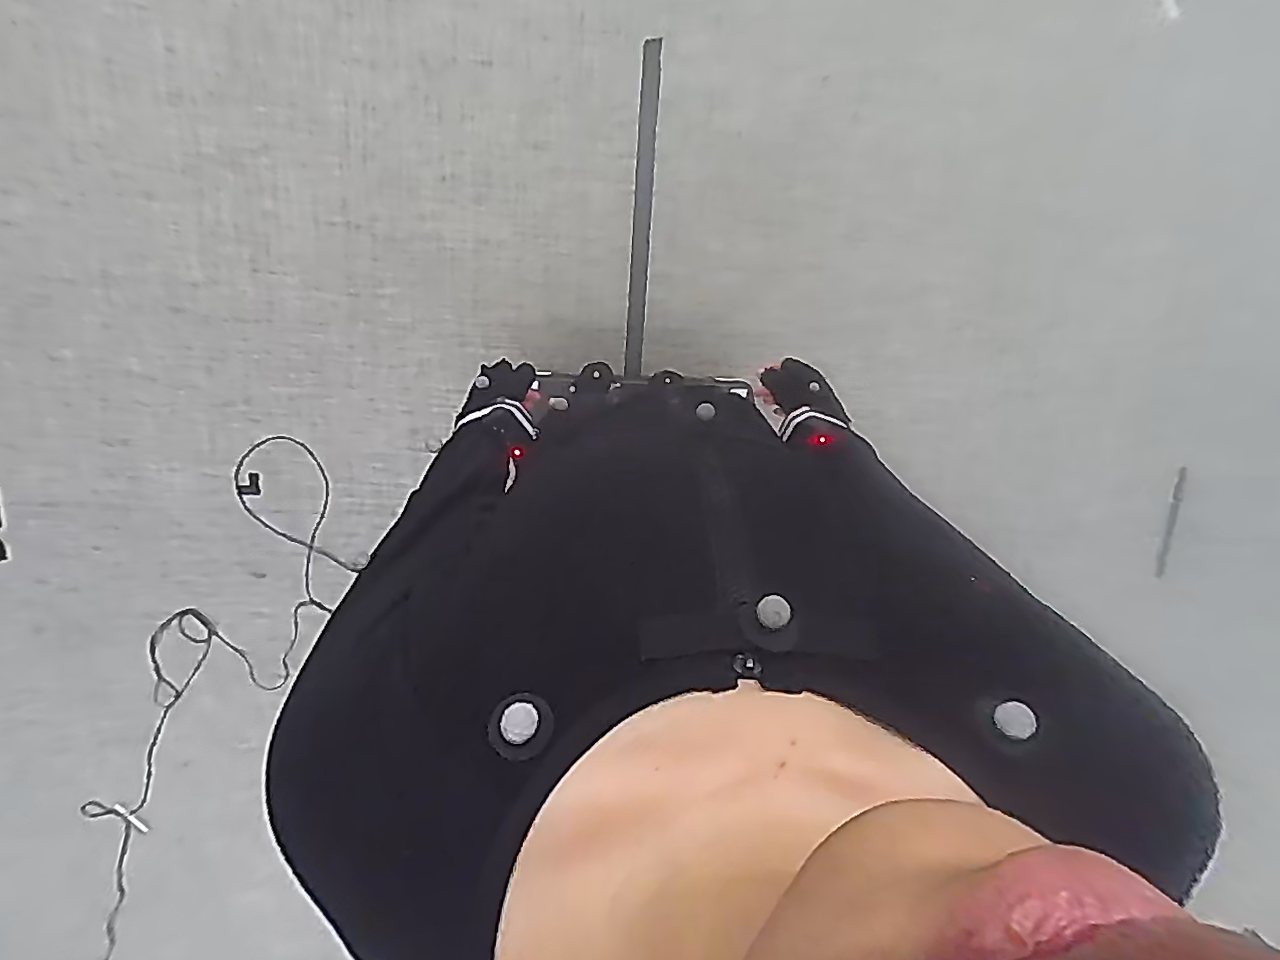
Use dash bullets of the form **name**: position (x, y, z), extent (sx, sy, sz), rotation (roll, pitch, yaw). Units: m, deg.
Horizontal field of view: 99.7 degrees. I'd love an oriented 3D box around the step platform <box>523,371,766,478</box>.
- **step platform**: position (0.011, -0.162, 1.551), extent (0.684, 0.204, 0.286), rotation (0, 102, -4)
